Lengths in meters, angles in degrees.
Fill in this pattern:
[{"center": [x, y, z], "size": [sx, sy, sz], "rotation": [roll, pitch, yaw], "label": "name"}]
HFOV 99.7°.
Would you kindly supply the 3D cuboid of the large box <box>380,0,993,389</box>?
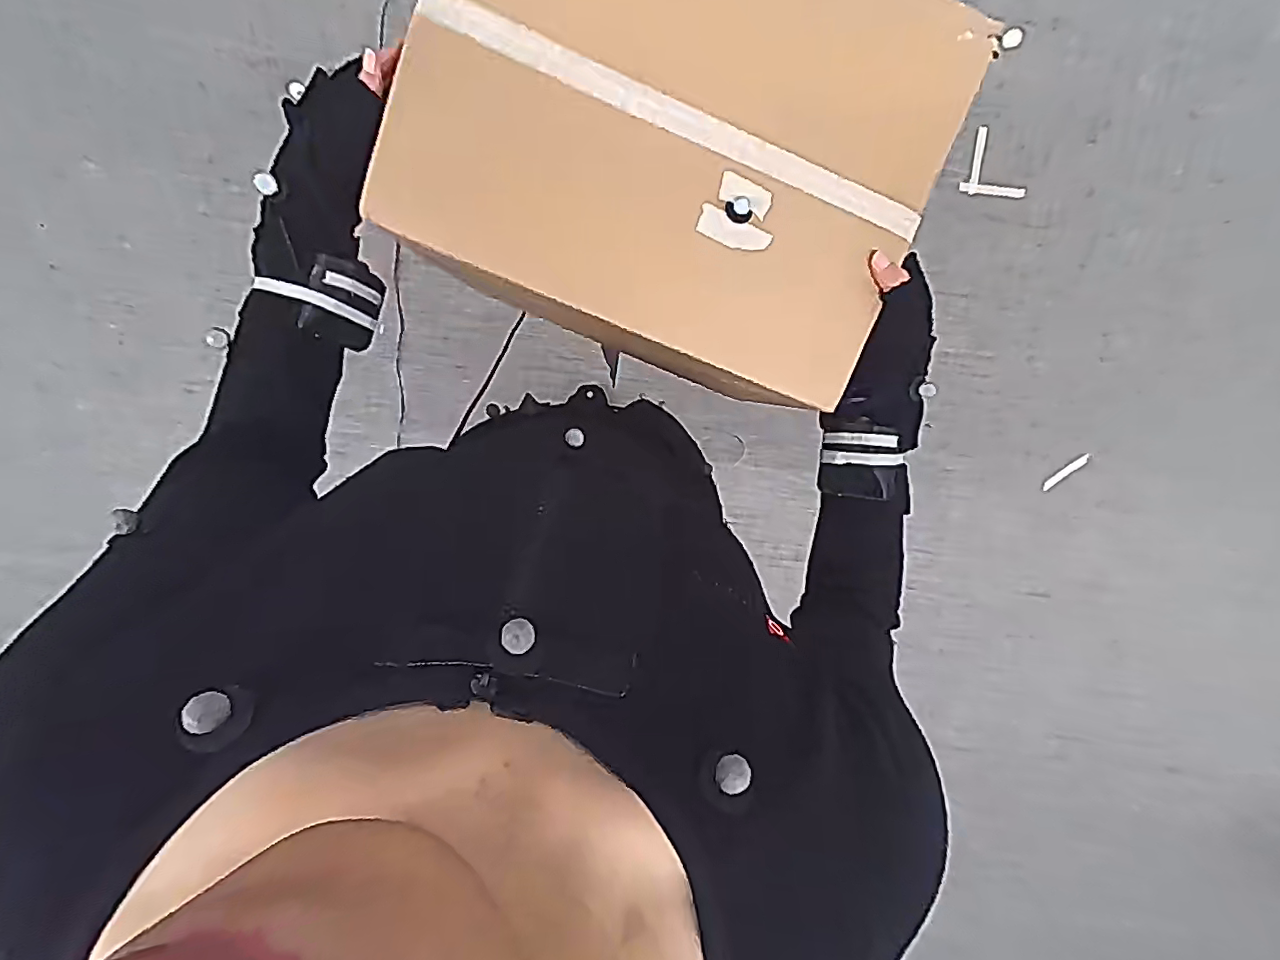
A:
[{"center": [0.027, -0.309, 0.563], "size": [0.408, 0.320, 0.320], "rotation": [22, 99, -7], "label": "large box"}]
